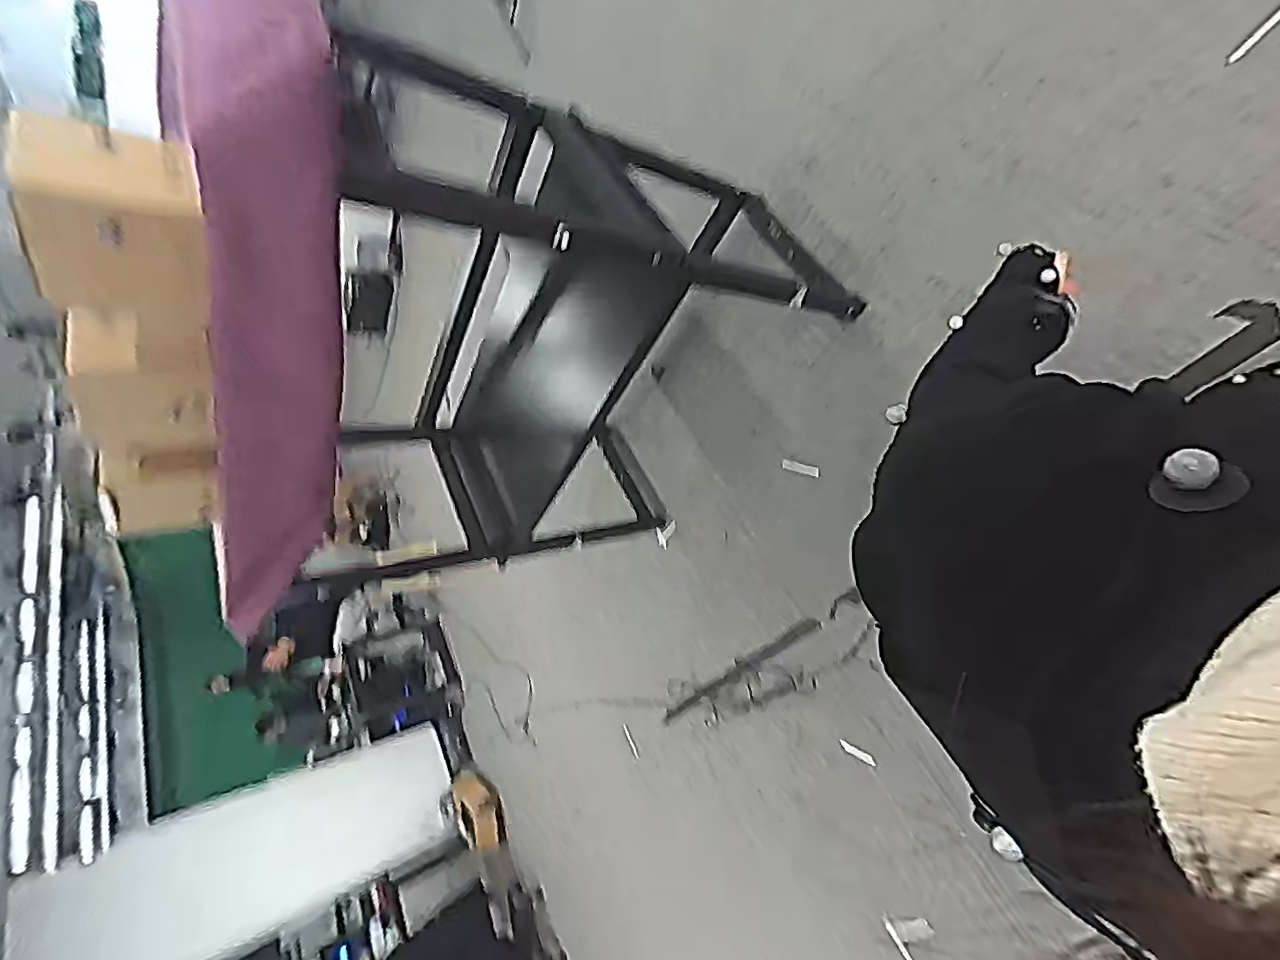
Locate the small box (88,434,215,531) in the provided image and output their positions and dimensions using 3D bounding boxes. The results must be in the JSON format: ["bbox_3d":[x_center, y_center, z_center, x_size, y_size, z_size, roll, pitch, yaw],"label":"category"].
[{"bbox_3d":[-0.938,-0.026,1.052,0.168,0.176,0.179,-54,55,39],"label":"small box"}]

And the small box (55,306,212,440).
[{"bbox_3d":[-0.815,-0.181,0.883,0.168,0.176,0.179,-54,55,40],"label":"small box"}]

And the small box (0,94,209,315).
[{"bbox_3d":[-0.674,-0.338,0.695,0.179,0.176,0.168,-50,57,42],"label":"small box"}]
